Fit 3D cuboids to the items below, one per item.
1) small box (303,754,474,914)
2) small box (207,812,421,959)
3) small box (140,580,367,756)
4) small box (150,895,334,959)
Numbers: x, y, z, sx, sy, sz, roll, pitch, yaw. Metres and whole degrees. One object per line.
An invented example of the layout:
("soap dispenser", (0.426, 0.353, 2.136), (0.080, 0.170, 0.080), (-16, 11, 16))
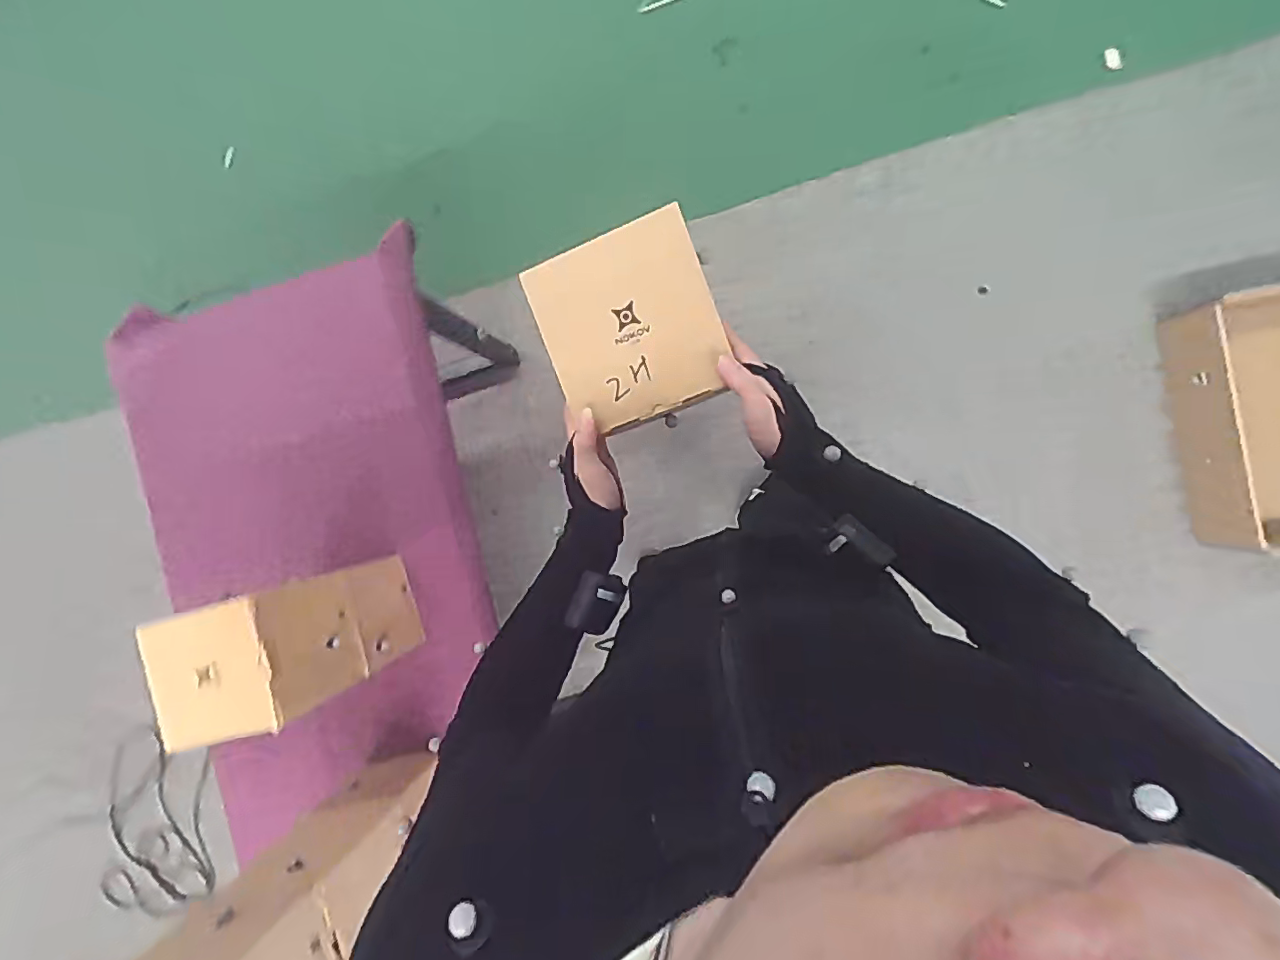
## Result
("small box", (-0.410, 0.592, 0.905), (0.179, 0.176, 0.168), (-17, 89, 8))
("small box", (-0.428, 0.592, 0.743), (0.179, 0.176, 0.168), (-17, 89, 10))
("small box", (-0.524, 0.250, 0.753), (0.179, 0.176, 0.168), (-16, 88, 9))
("small box", (-0.461, 0.597, 0.582), (0.179, 0.176, 0.168), (-17, 89, 10))
